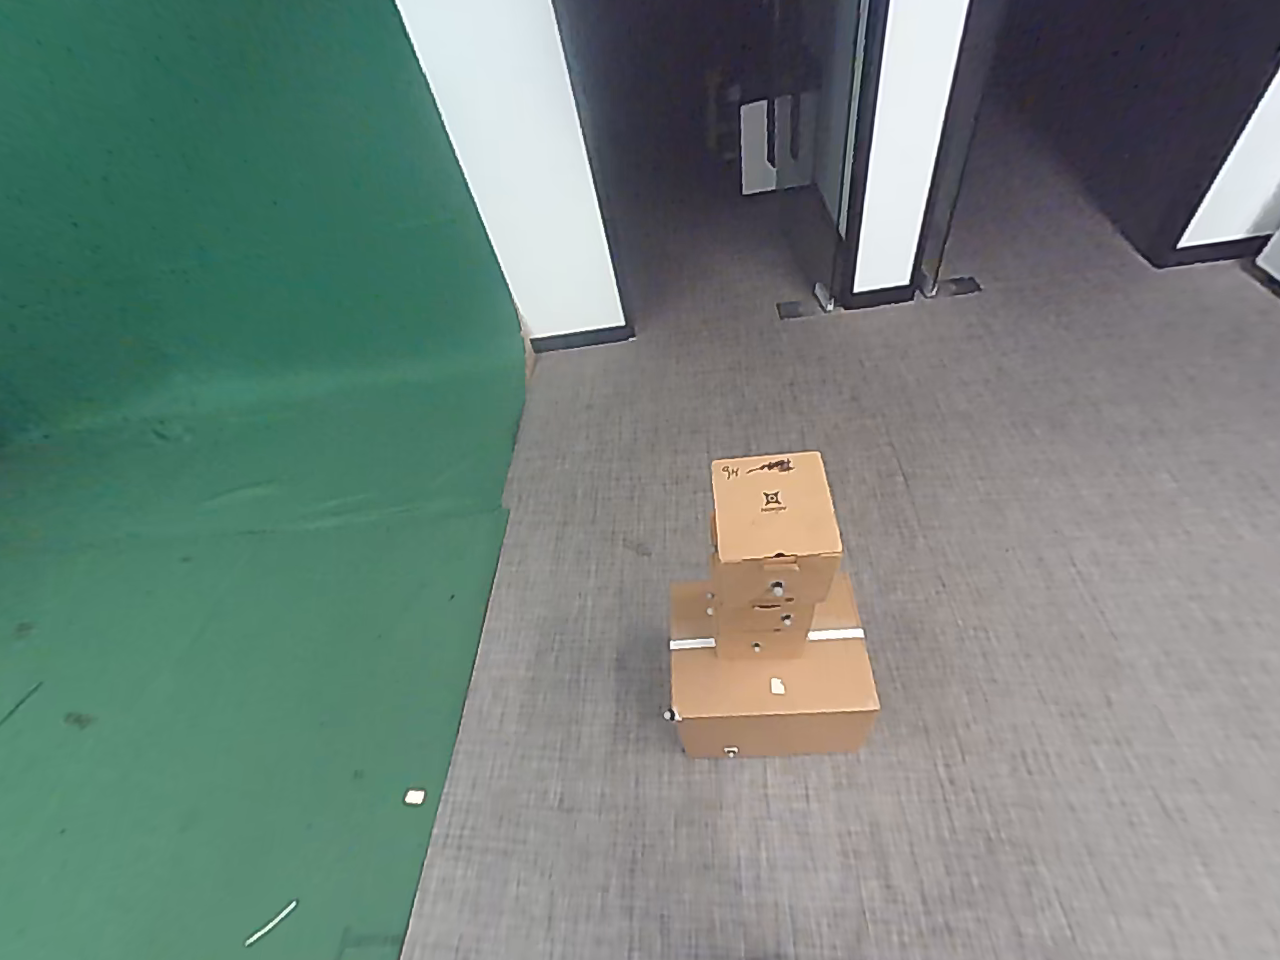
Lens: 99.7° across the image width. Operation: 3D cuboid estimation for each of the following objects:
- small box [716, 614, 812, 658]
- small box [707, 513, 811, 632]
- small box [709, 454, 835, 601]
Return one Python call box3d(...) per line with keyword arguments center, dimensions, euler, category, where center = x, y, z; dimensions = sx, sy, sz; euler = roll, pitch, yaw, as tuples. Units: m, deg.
box3d(center=(0.244, 0.260, 1.117), dimensions=(0.179, 0.176, 0.168), euler=(-7, 55, 8), category="small box")
box3d(center=(0.215, 0.169, 0.986), dimensions=(0.168, 0.176, 0.179), euler=(-5, 54, 8), category="small box")
box3d(center=(0.200, 0.083, 0.848), dimensions=(0.168, 0.176, 0.179), euler=(-5, 56, 8), category="small box")
